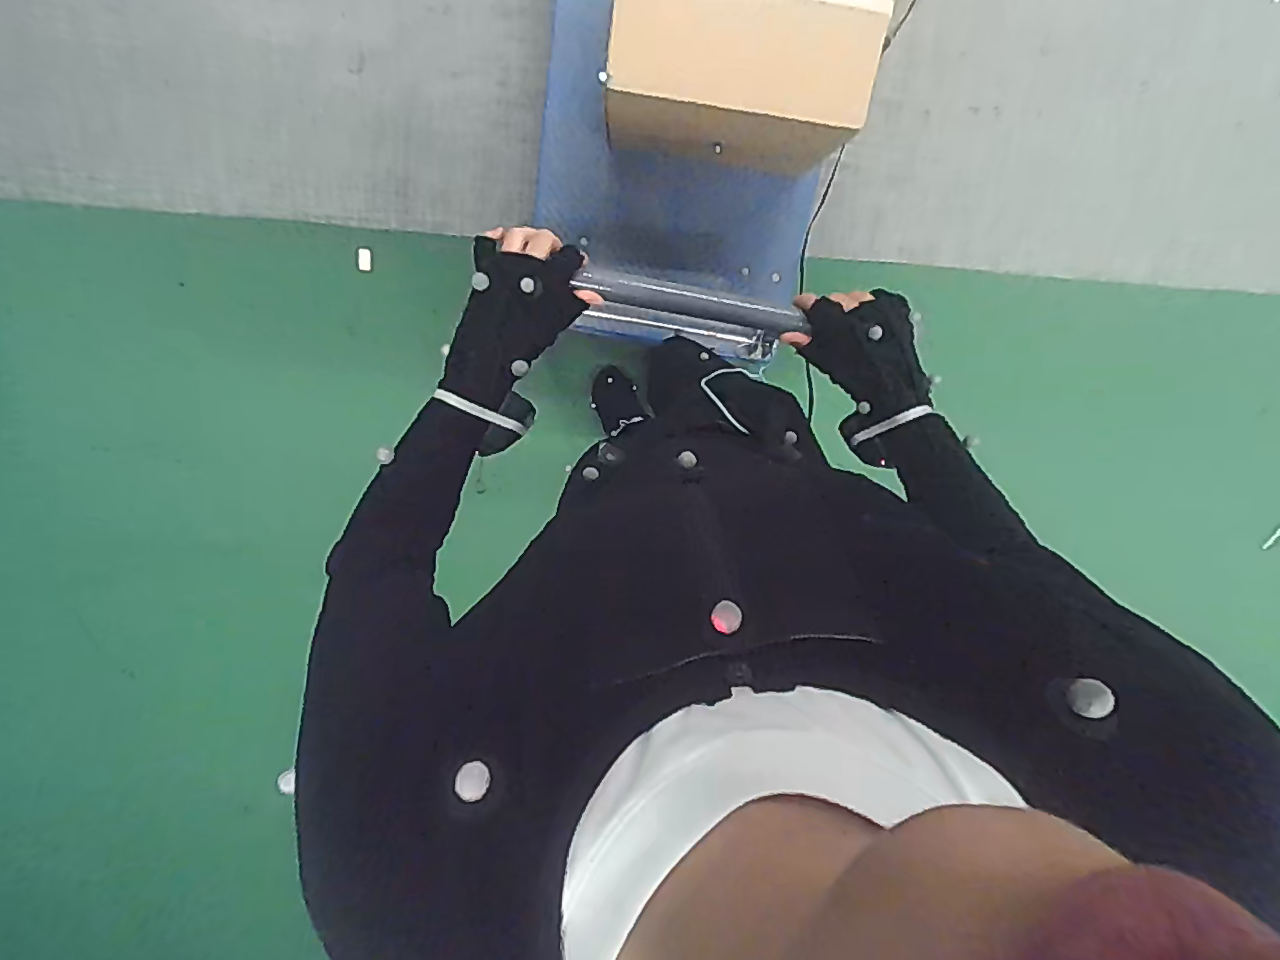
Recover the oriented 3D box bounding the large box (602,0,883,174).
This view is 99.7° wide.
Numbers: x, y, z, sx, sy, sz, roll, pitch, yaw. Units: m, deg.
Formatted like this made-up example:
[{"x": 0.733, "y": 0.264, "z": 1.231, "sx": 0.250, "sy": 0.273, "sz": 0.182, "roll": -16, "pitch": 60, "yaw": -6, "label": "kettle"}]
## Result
[{"x": 0.157, "y": -0.751, "z": 0.925, "sx": 0.408, "sy": 0.320, "sz": 0.320, "roll": 7, "pitch": 106, "yaw": -3, "label": "large box"}]
